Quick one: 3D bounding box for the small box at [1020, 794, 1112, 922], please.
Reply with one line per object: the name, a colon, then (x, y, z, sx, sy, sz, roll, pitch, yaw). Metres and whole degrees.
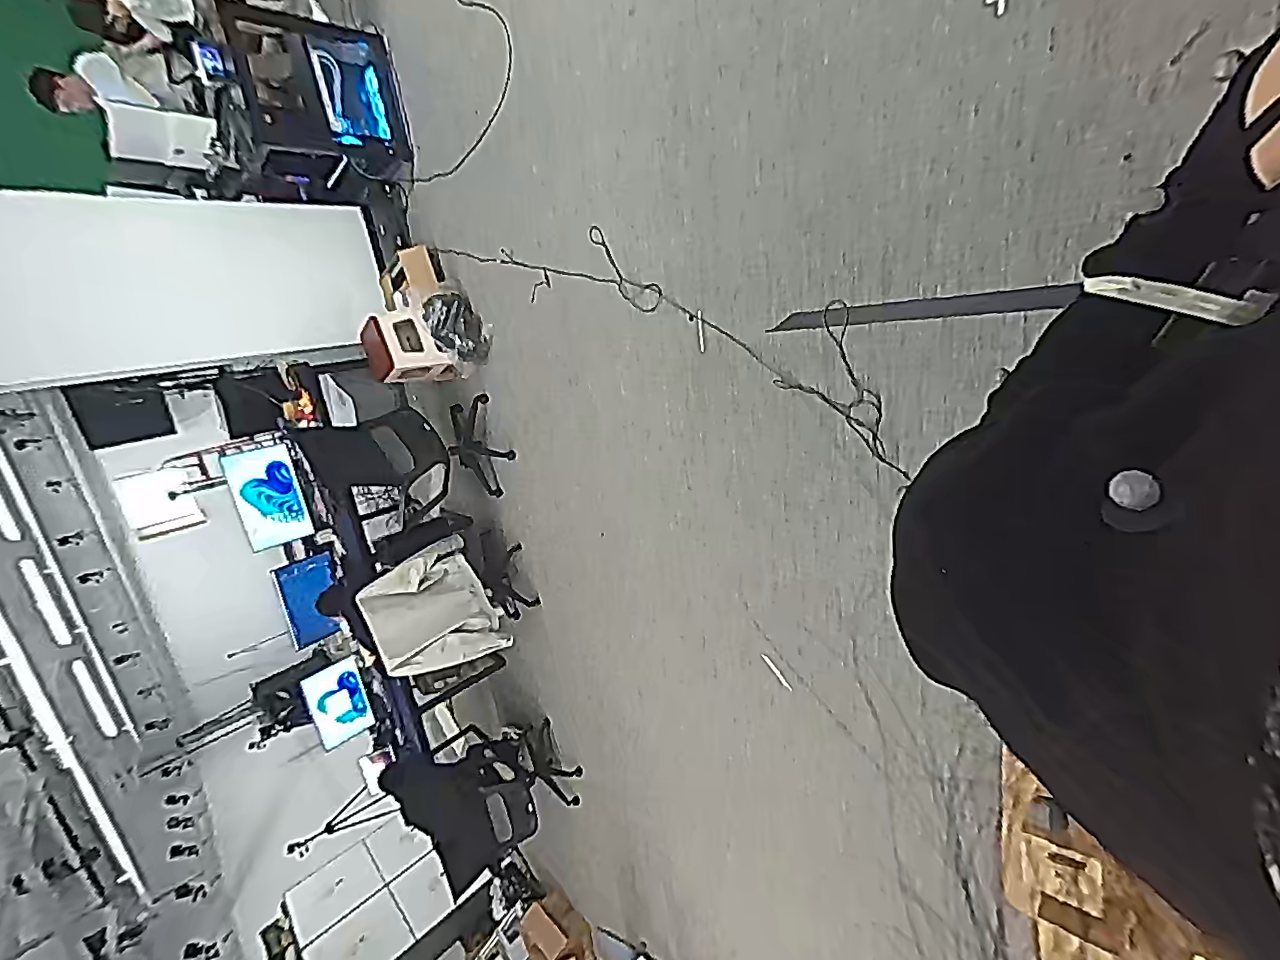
small box: (1.106, 0.966, 1.404, 0.168, 0.176, 0.179, 1, 108, 48)

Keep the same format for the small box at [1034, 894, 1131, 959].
small box: (1.179, 1.214, 1.439, 0.179, 0.176, 0.168, -1, 108, 47)

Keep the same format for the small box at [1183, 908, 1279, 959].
small box: (1.346, 1.113, 1.205, 0.179, 0.176, 0.168, 11, 114, 44)
